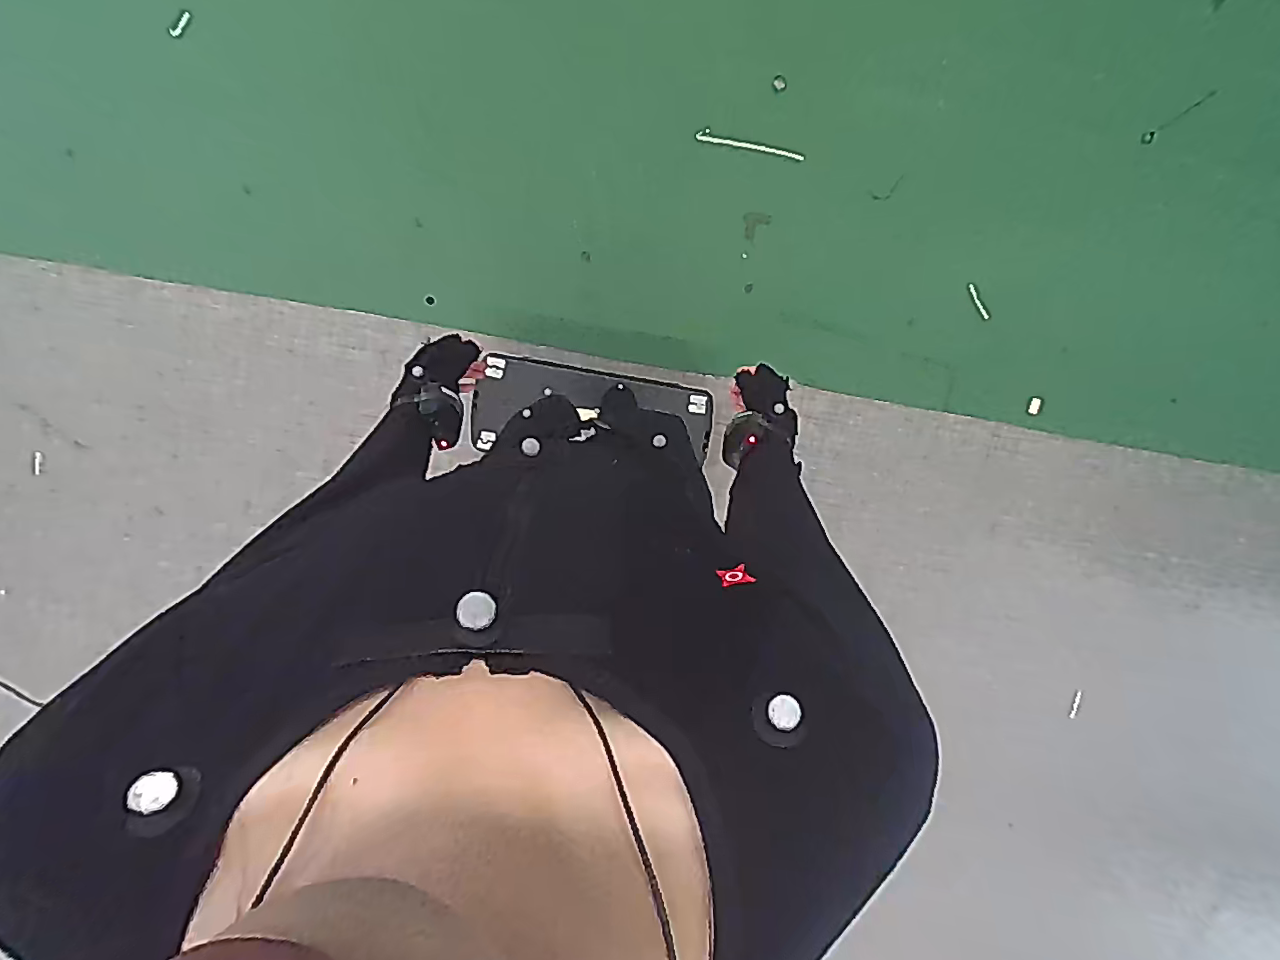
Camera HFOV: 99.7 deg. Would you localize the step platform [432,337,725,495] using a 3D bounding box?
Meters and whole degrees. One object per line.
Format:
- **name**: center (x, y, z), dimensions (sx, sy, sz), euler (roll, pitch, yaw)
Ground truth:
- **step platform**: center (-0.145, -0.160, 1.358), dimensions (0.684, 0.204, 0.286), euler (9, 99, -2)
